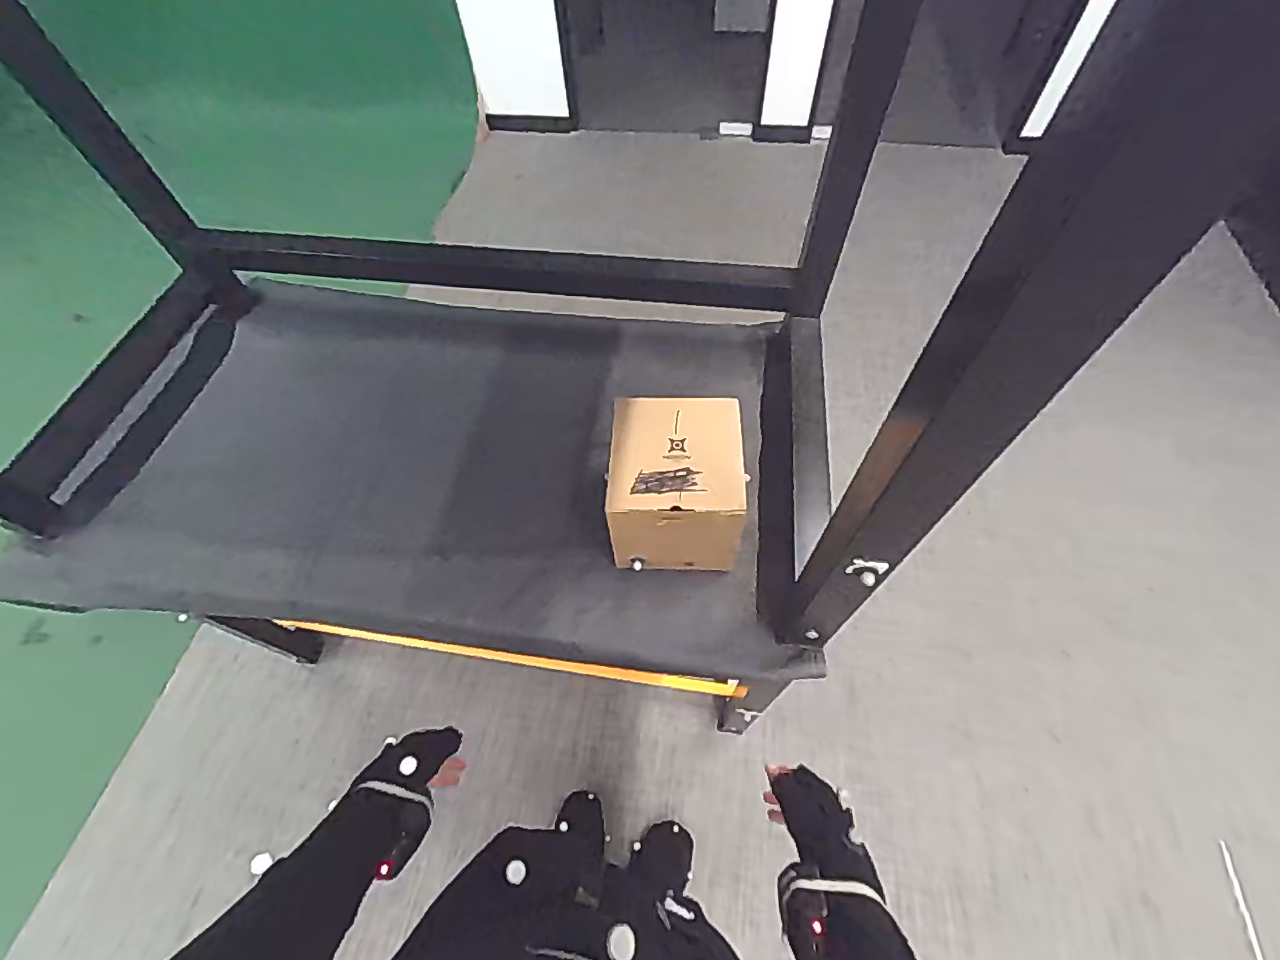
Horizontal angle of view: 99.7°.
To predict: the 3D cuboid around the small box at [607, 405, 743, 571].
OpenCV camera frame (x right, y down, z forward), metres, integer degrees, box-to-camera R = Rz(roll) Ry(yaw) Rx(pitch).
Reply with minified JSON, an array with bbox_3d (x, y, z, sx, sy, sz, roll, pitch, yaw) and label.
[{"bbox_3d":[0.052,0.016,0.751,0.168,0.176,0.179,1,56,4],"label":"small box"}]
